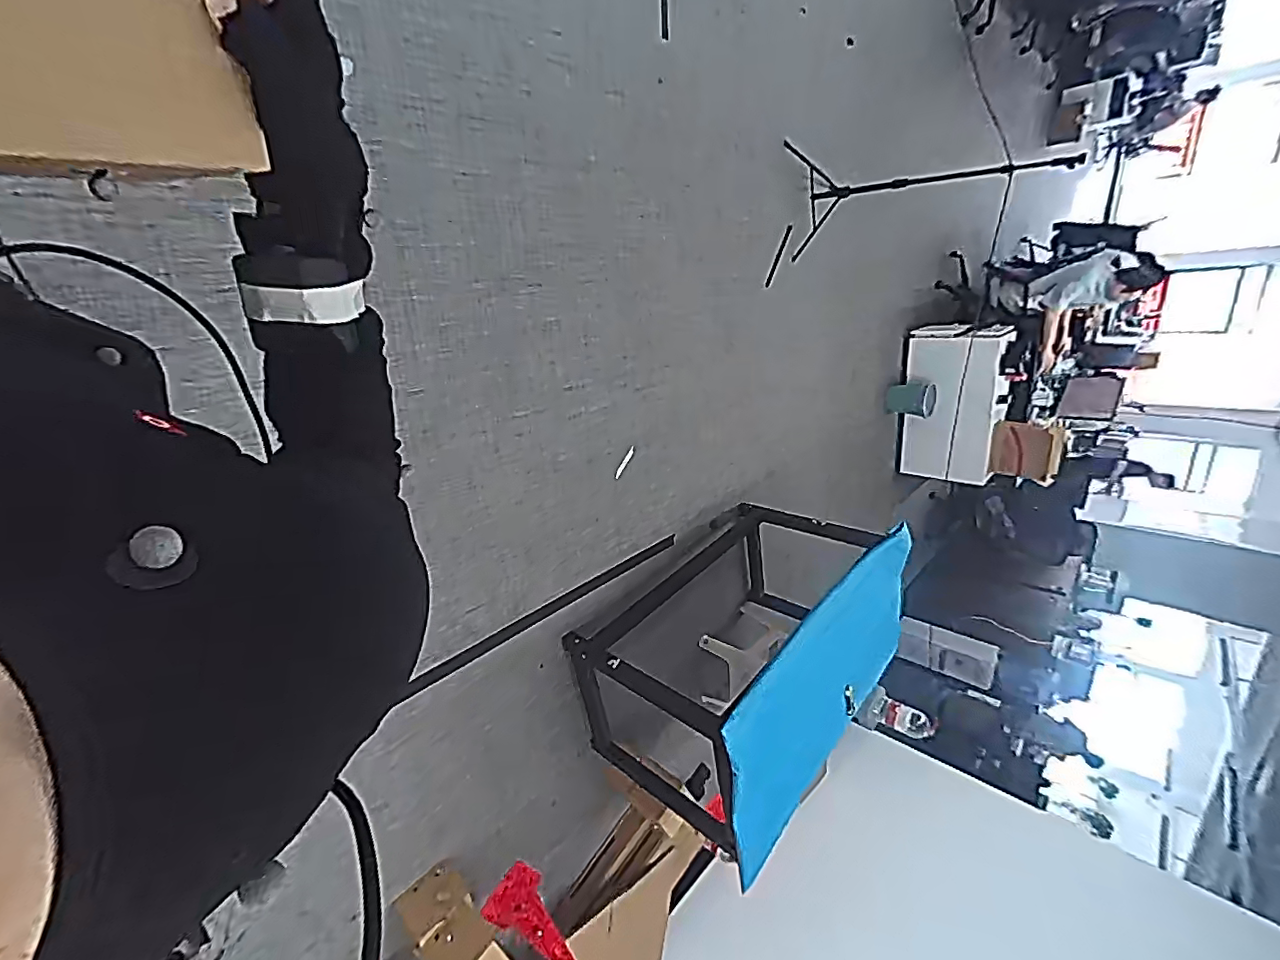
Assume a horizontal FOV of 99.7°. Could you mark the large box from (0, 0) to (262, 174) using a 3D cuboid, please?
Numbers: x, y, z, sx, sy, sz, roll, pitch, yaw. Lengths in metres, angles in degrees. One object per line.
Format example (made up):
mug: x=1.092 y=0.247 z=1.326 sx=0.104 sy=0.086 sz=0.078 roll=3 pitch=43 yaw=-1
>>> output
large box: x=-0.458 y=-0.304 z=0.209 sx=0.408 sy=0.320 sz=0.320 roll=-24 pitch=126 yaw=-41
